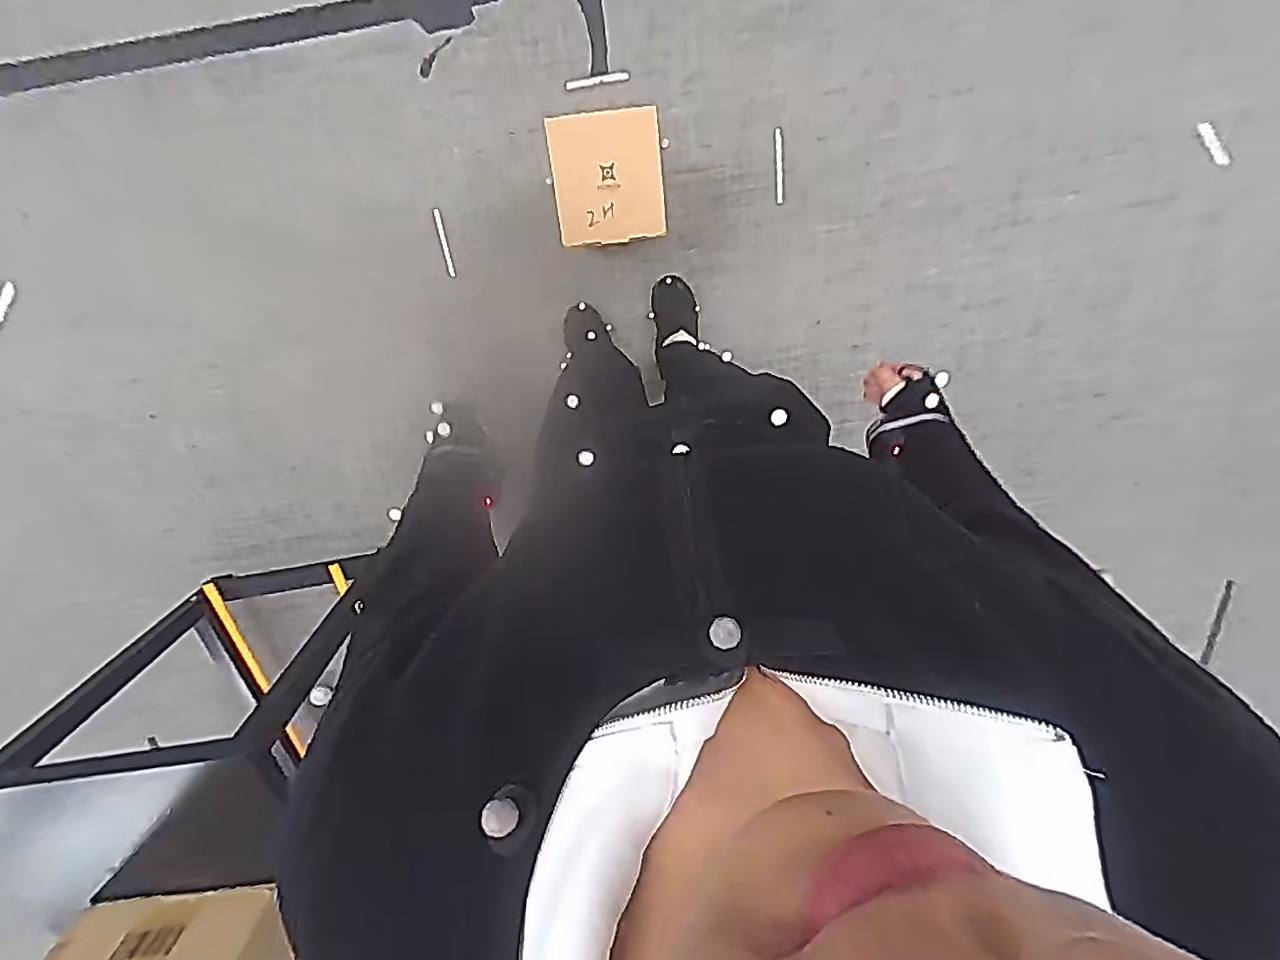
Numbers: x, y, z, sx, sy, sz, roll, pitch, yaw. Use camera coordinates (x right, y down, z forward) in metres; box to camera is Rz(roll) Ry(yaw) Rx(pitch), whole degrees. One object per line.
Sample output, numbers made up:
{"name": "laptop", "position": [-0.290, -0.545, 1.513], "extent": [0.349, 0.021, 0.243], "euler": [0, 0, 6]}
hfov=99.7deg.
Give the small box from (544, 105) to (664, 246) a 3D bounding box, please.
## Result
{"name": "small box", "position": [-0.054, -0.482, 0.880], "extent": [0.168, 0.176, 0.179], "euler": [-6, 114, 1]}
